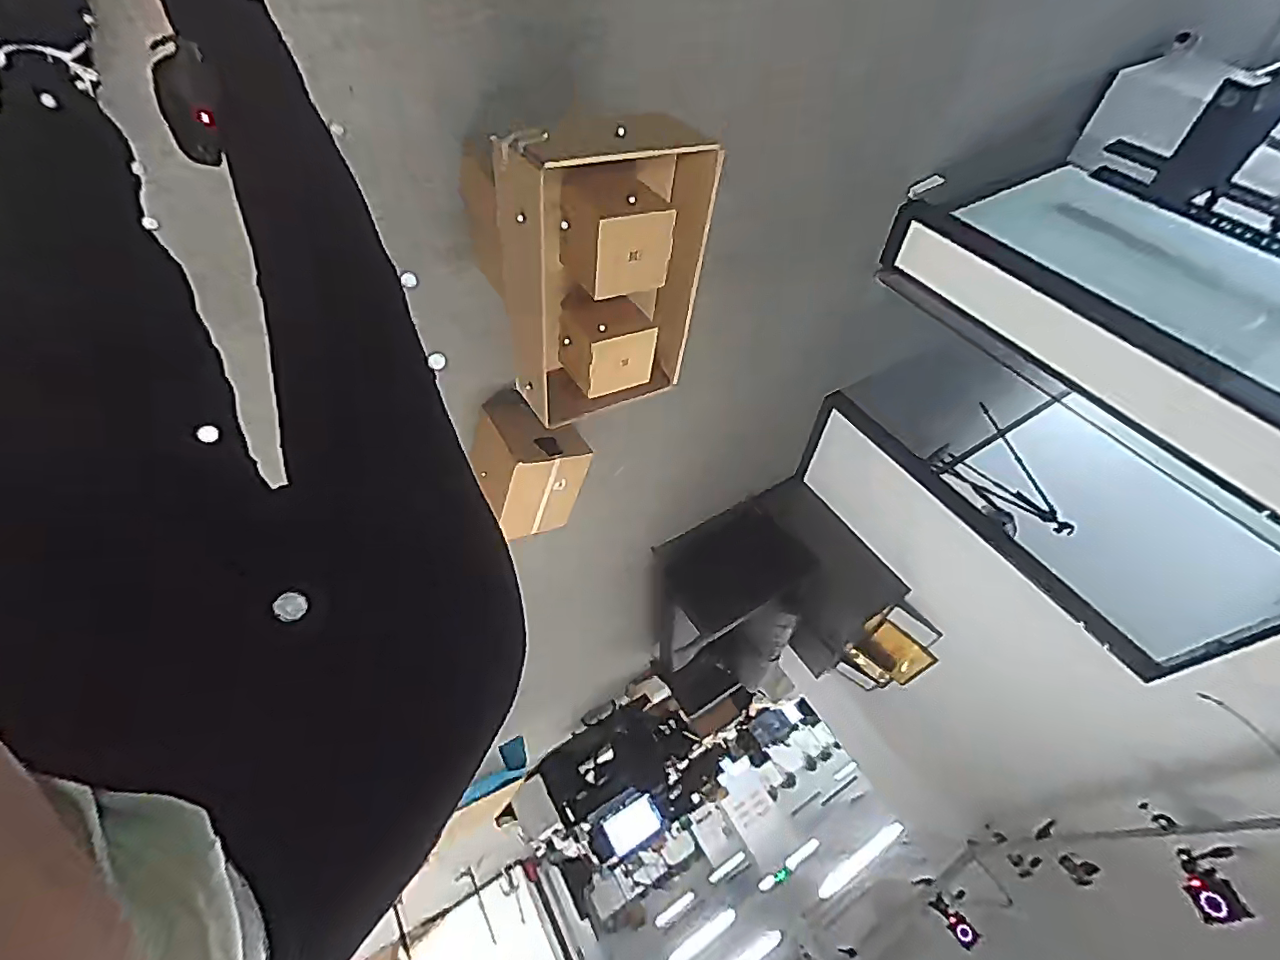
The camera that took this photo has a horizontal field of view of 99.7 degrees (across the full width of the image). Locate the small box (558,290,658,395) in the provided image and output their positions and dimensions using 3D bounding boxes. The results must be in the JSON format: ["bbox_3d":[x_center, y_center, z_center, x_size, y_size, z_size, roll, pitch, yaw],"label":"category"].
[{"bbox_3d":[-0.083,-0.341,1.320,0.179,0.176,0.168,-21,147,-24],"label":"small box"}]

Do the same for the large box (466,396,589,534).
[{"bbox_3d":[-0.442,-0.060,2.050,0.320,0.320,0.408,-12,141,-38],"label":"large box"}]
